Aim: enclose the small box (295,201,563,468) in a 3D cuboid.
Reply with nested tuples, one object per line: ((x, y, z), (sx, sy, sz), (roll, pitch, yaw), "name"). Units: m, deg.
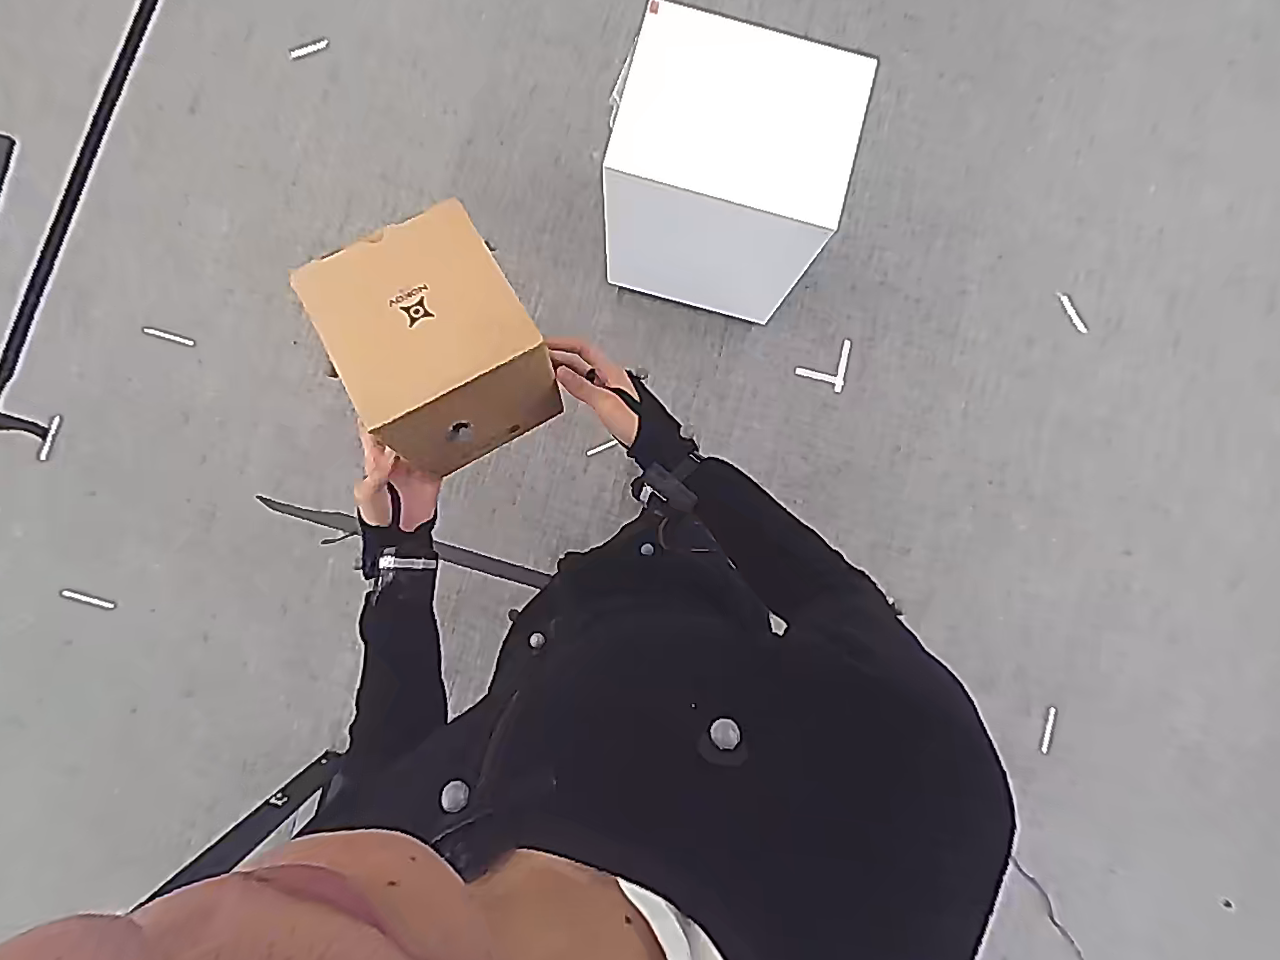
((-0.192, -0.128, 0.547), (0.168, 0.176, 0.179), (-30, 78, -9), "small box")
